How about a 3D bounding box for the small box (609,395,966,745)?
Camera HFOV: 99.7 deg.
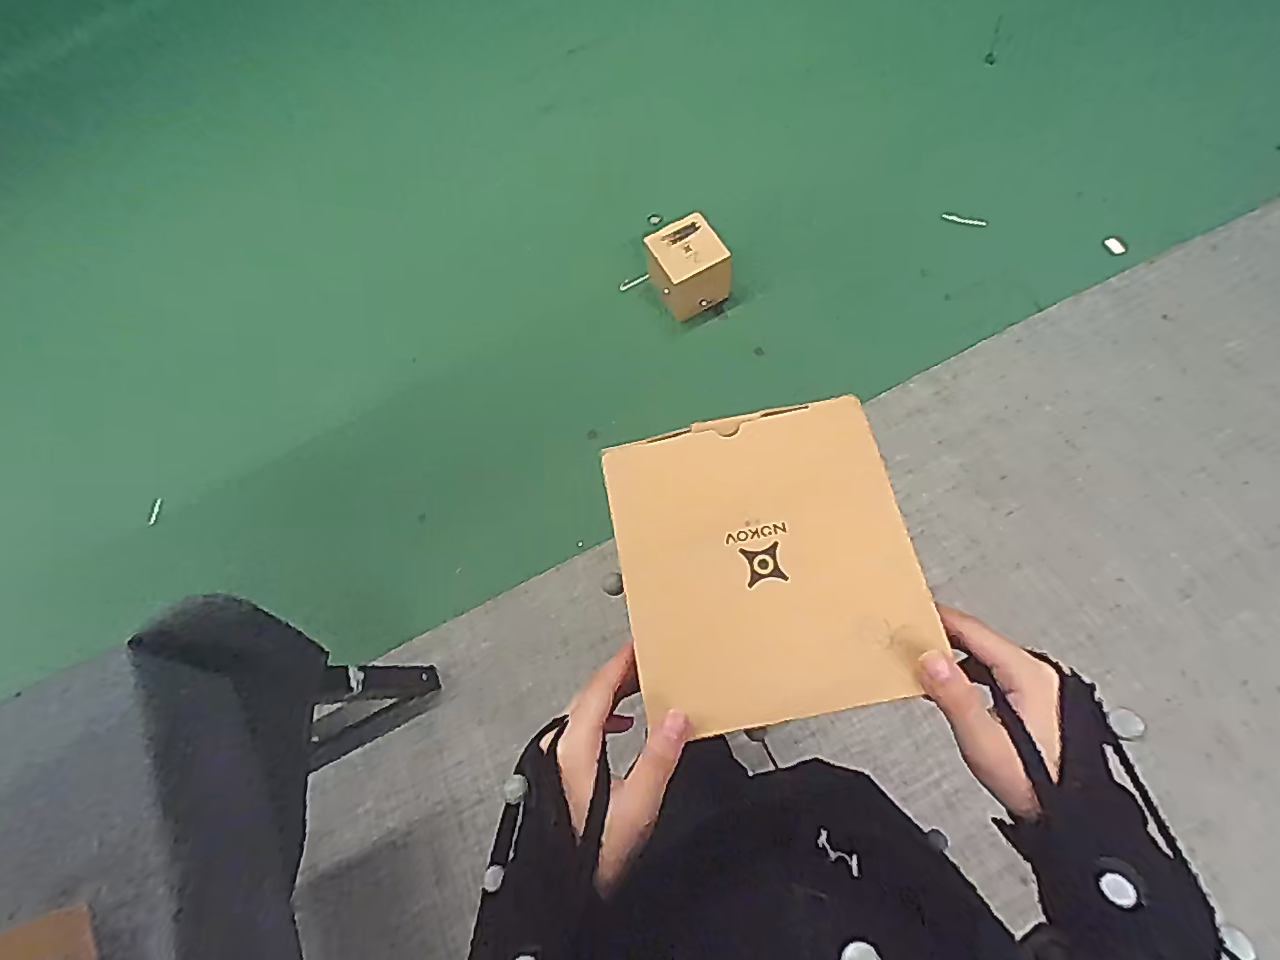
[{"bbox_3d":[0.083,0.069,0.382,0.168,0.176,0.179,-12,69,3],"label":"small box"}]
